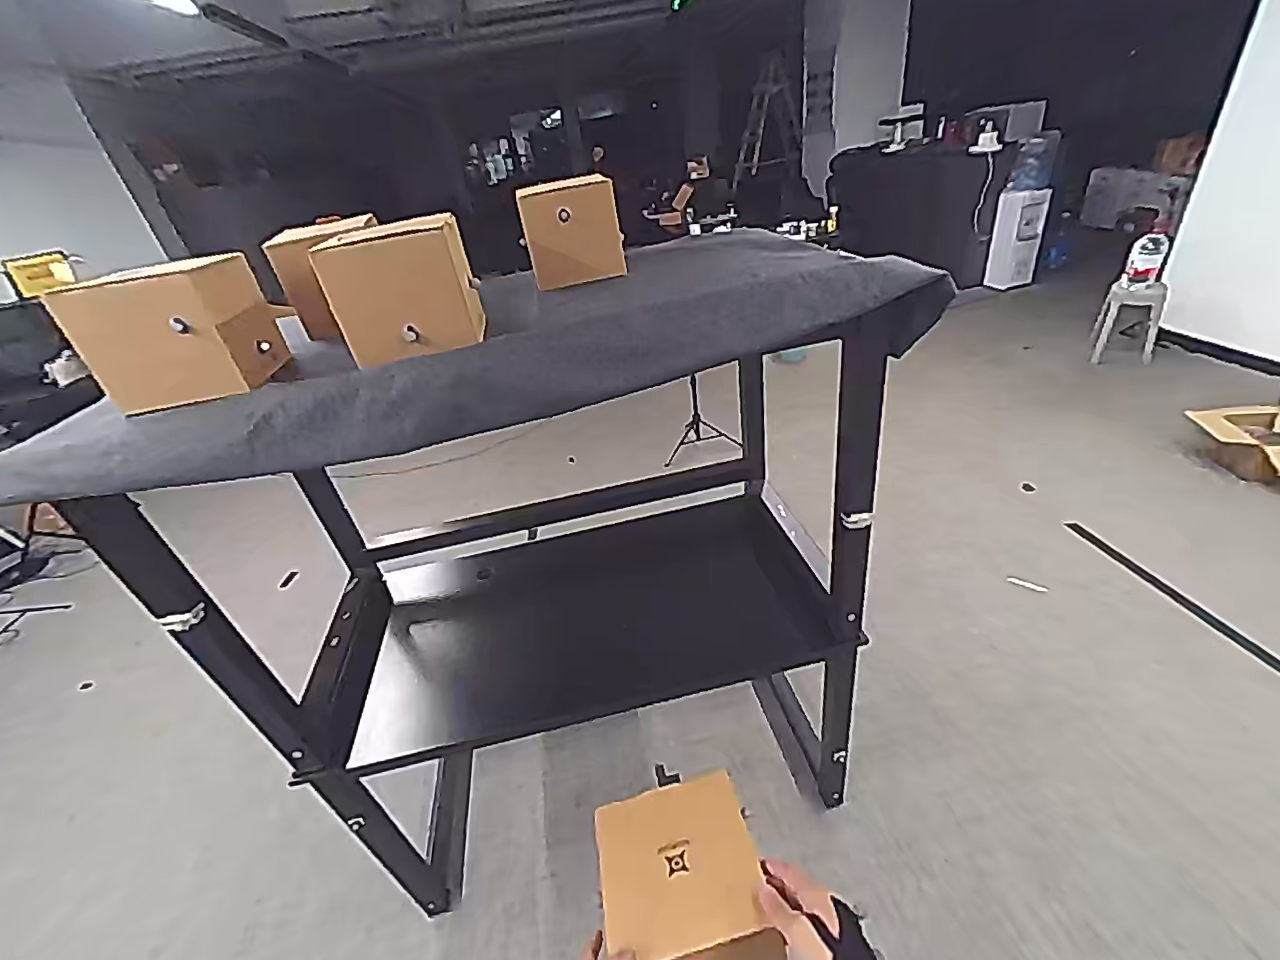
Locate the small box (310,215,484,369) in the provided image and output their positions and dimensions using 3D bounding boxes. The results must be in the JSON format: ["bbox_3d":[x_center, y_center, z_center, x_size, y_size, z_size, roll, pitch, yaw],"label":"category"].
[{"bbox_3d":[-0.341,-0.282,0.805,0.179,0.176,0.168,-13,32,-5],"label":"small box"}]

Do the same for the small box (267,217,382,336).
[{"bbox_3d":[-0.552,-0.384,1.019,0.168,0.176,0.179,-17,34,-9],"label":"small box"}]

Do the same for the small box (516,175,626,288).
[{"bbox_3d":[-0.135,-0.492,1.069,0.179,0.176,0.168,-13,34,-4],"label":"small box"}]
